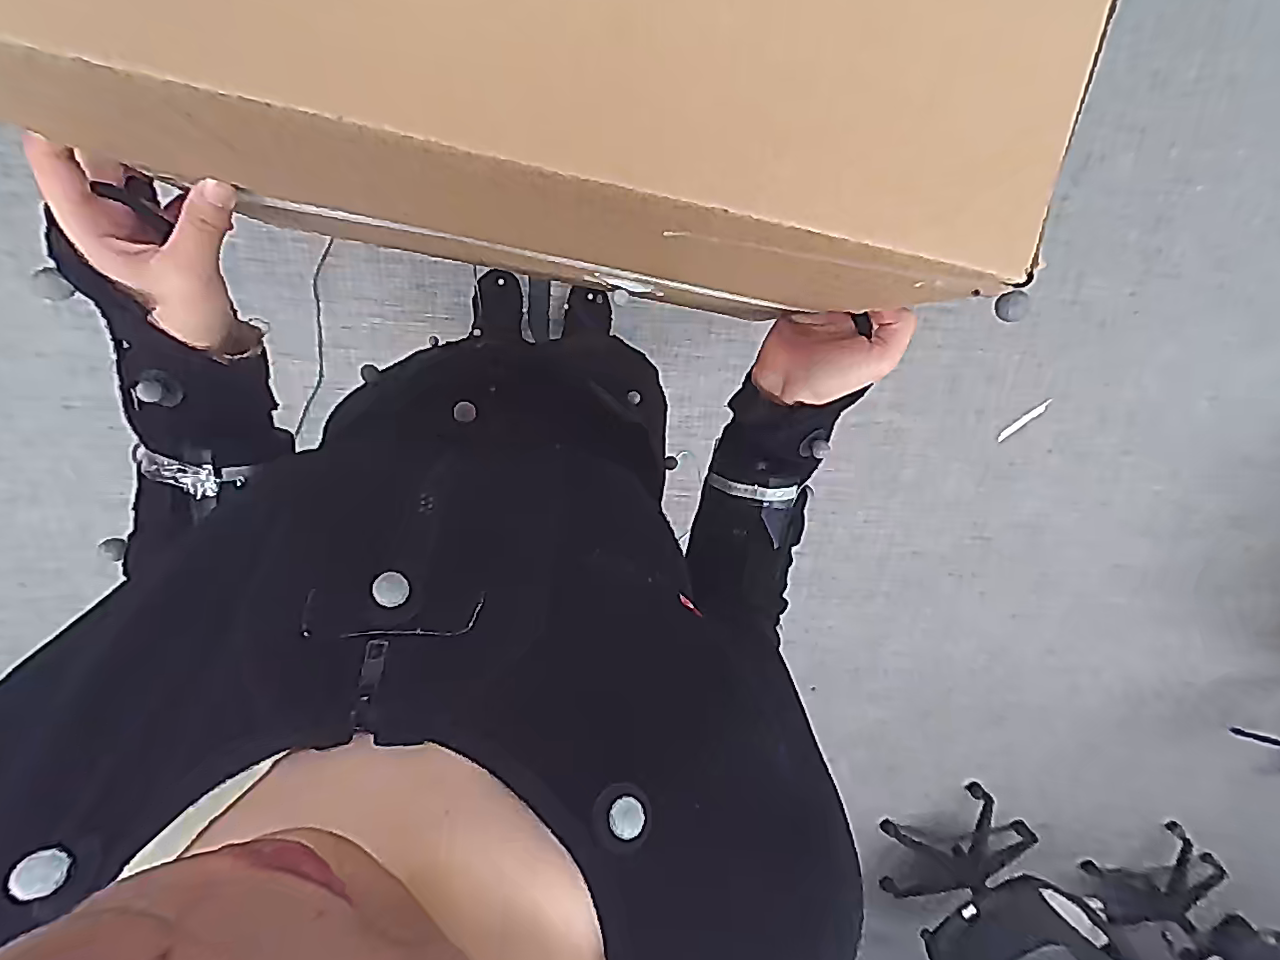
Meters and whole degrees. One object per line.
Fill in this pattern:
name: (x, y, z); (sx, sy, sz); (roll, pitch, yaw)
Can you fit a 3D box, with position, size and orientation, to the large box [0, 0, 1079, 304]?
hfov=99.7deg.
large box: (-0.055, -0.290, 0.277); (0.408, 0.320, 0.320); (6, 105, -10)
